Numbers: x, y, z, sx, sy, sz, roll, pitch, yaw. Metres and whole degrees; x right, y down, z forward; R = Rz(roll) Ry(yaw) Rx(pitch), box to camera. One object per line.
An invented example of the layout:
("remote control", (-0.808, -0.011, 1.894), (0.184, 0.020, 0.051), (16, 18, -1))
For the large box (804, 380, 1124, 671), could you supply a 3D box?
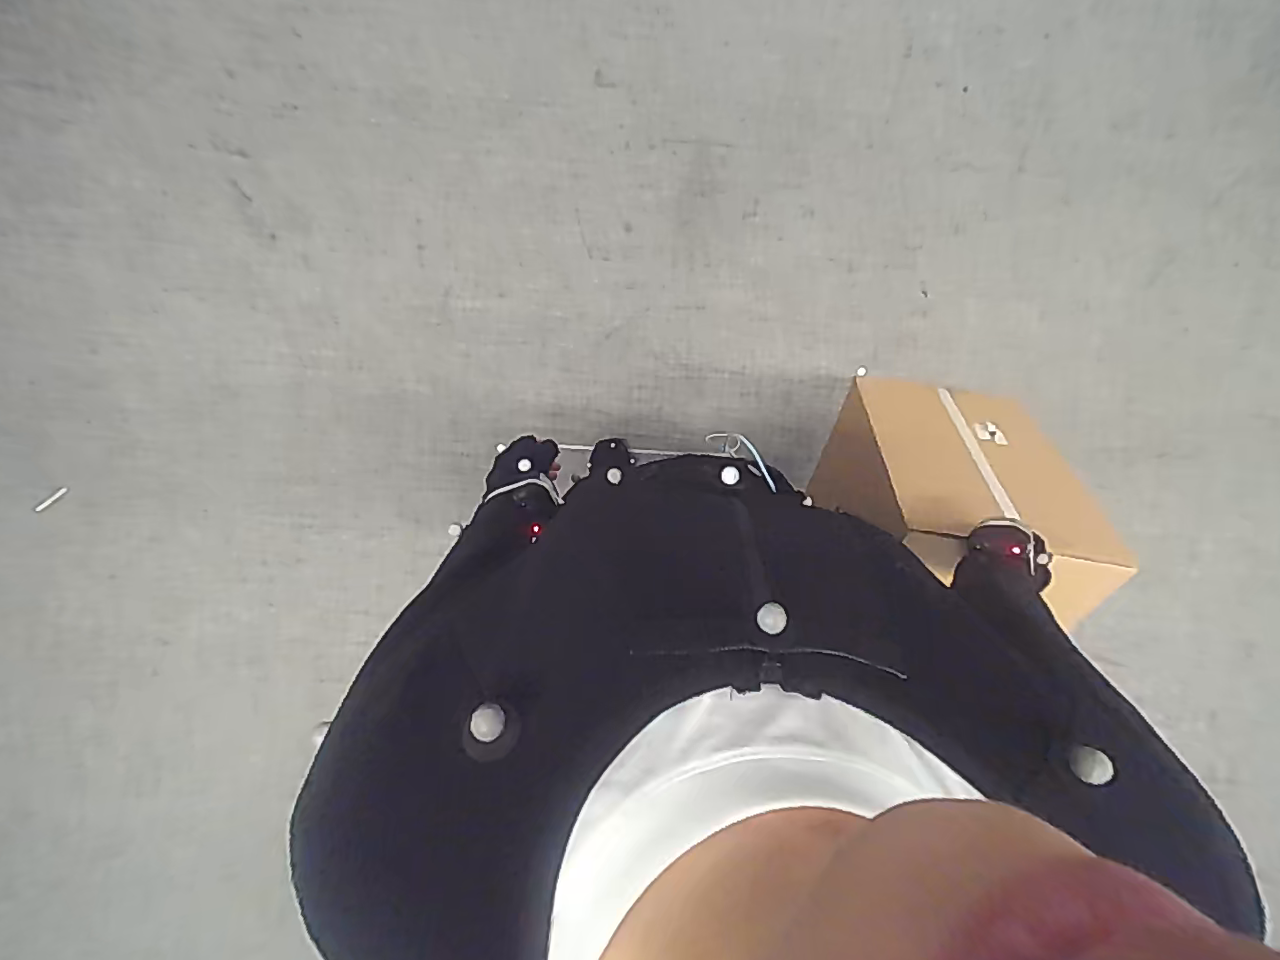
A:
("large box", (0.509, 0.072, 0.973), (0.320, 0.408, 0.320), (10, 131, 0))
